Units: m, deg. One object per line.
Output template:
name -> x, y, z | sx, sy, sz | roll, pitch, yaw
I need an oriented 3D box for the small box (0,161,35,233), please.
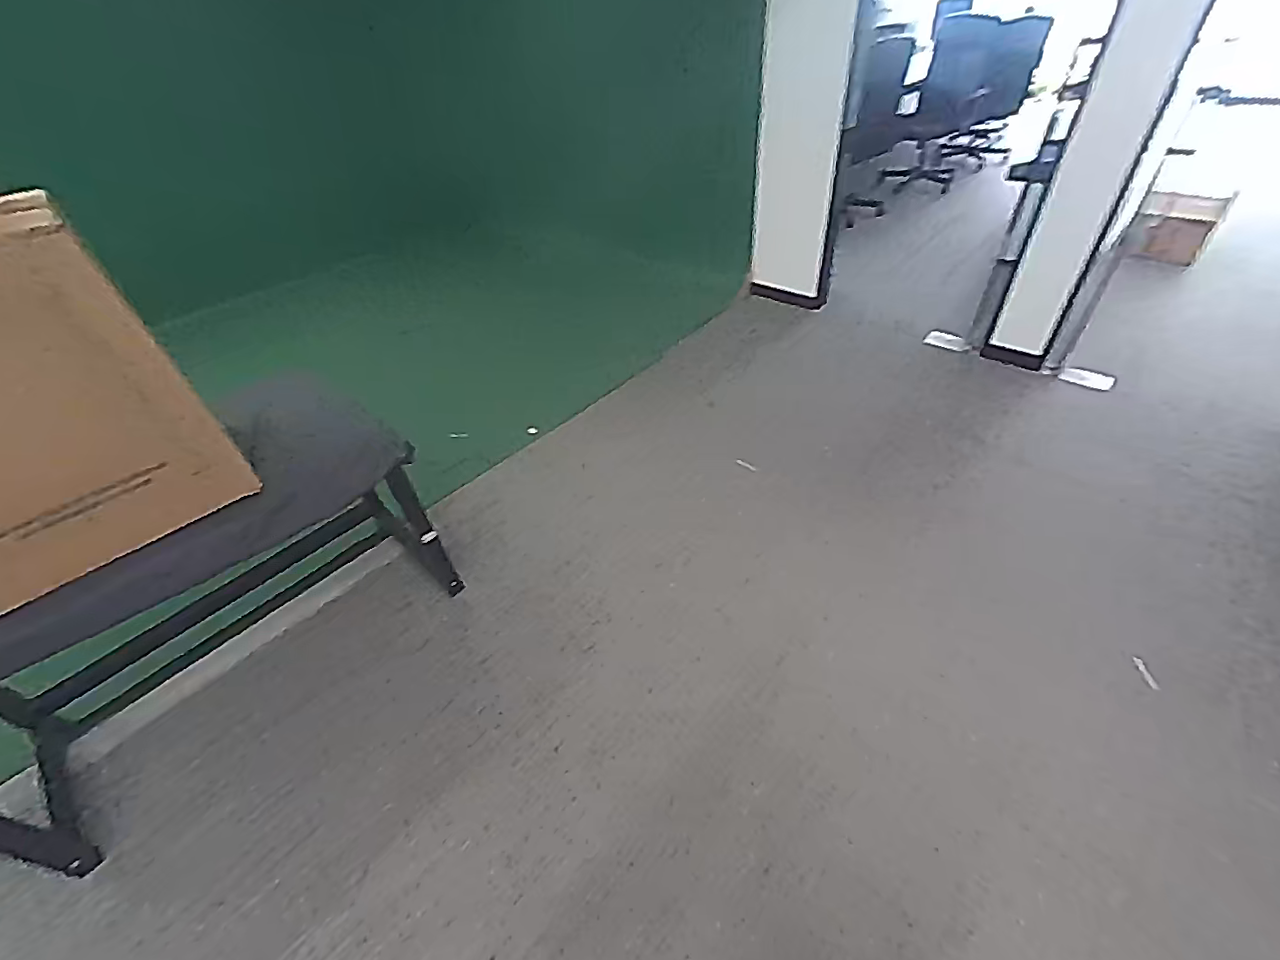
small box -> -1.188, -0.502, 0.900 | 0.179, 0.176, 0.168 | -26, 47, -19
